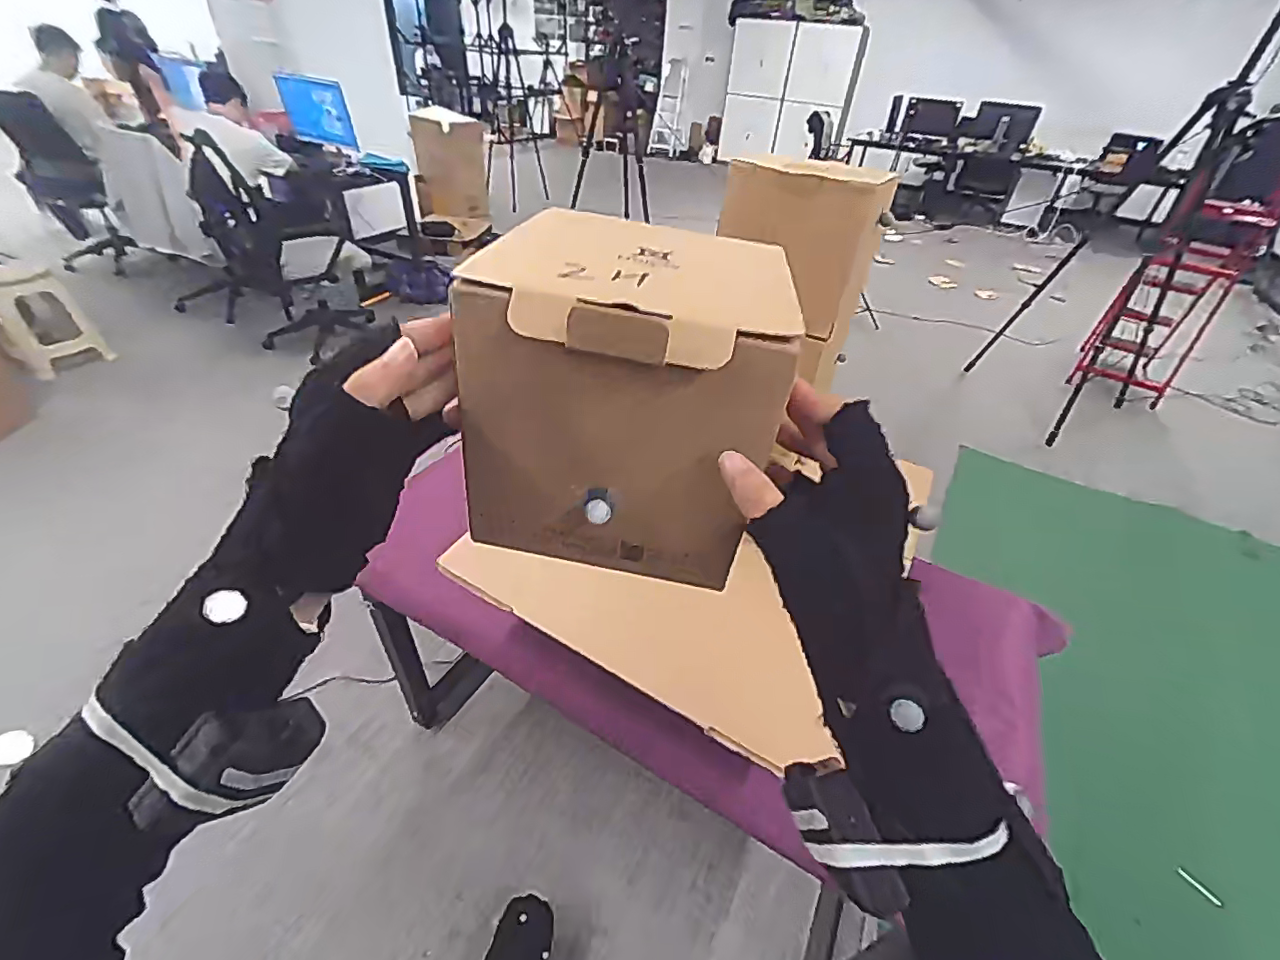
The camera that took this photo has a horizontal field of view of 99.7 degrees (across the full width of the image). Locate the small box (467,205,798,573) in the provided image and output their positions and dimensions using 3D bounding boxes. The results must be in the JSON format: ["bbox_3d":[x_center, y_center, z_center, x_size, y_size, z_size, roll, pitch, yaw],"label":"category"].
[{"bbox_3d":[-0.002,-0.067,0.368,0.168,0.176,0.179,11,38,3],"label":"small box"}]

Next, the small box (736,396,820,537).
[{"bbox_3d":[0.169,-0.036,0.879,0.168,0.176,0.179,24,40,21],"label":"small box"}]

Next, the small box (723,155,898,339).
[{"bbox_3d":[0.203,-0.301,0.688,0.168,0.176,0.179,22,39,19],"label":"small box"}]
